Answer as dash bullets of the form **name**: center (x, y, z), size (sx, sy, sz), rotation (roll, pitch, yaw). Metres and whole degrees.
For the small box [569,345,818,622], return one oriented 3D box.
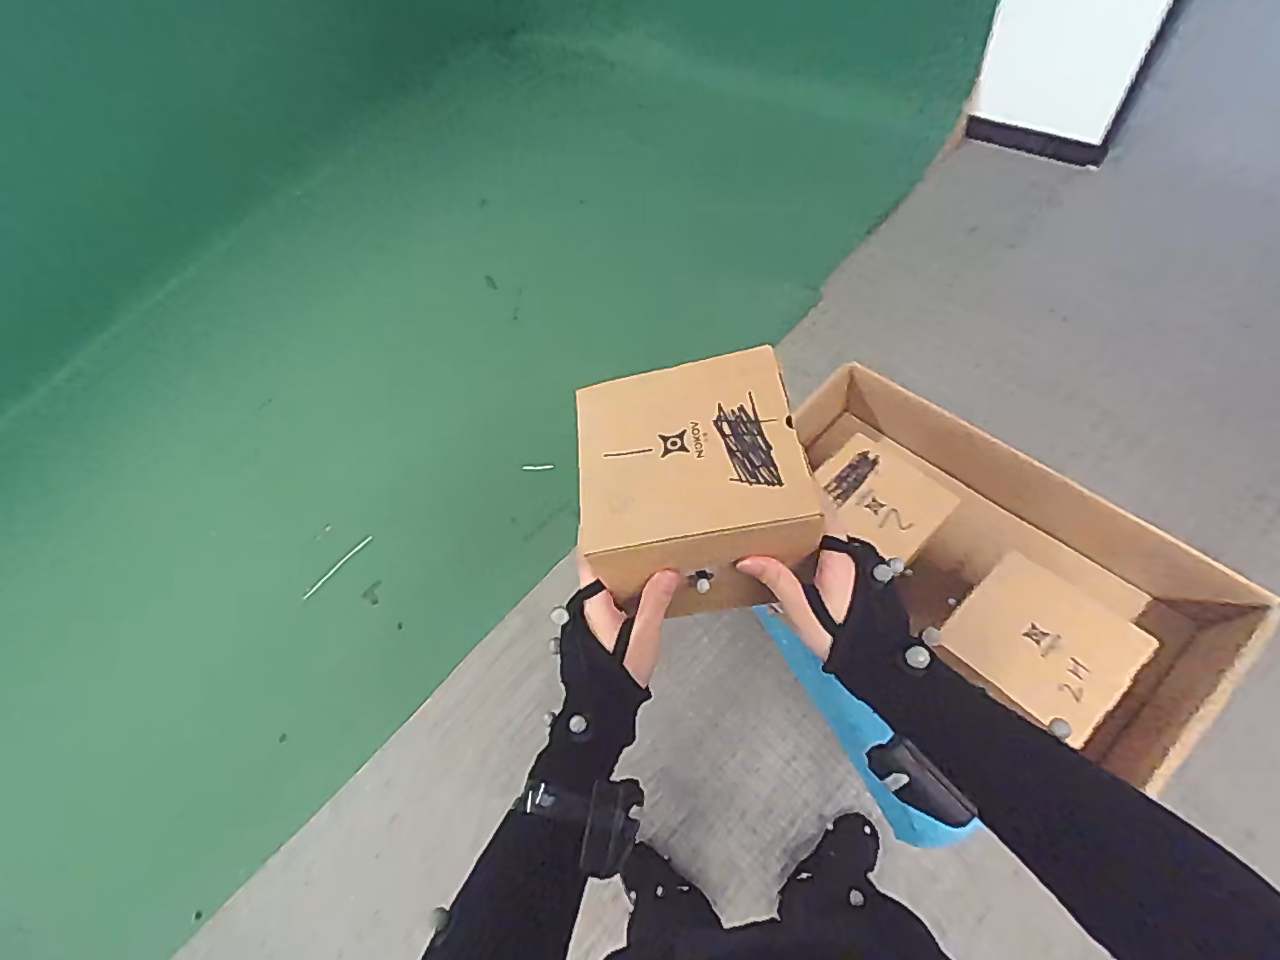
- **small box**: center (0.047, 0.013, 0.483), size (0.179, 0.176, 0.168), rotation (-12, 56, 9)
